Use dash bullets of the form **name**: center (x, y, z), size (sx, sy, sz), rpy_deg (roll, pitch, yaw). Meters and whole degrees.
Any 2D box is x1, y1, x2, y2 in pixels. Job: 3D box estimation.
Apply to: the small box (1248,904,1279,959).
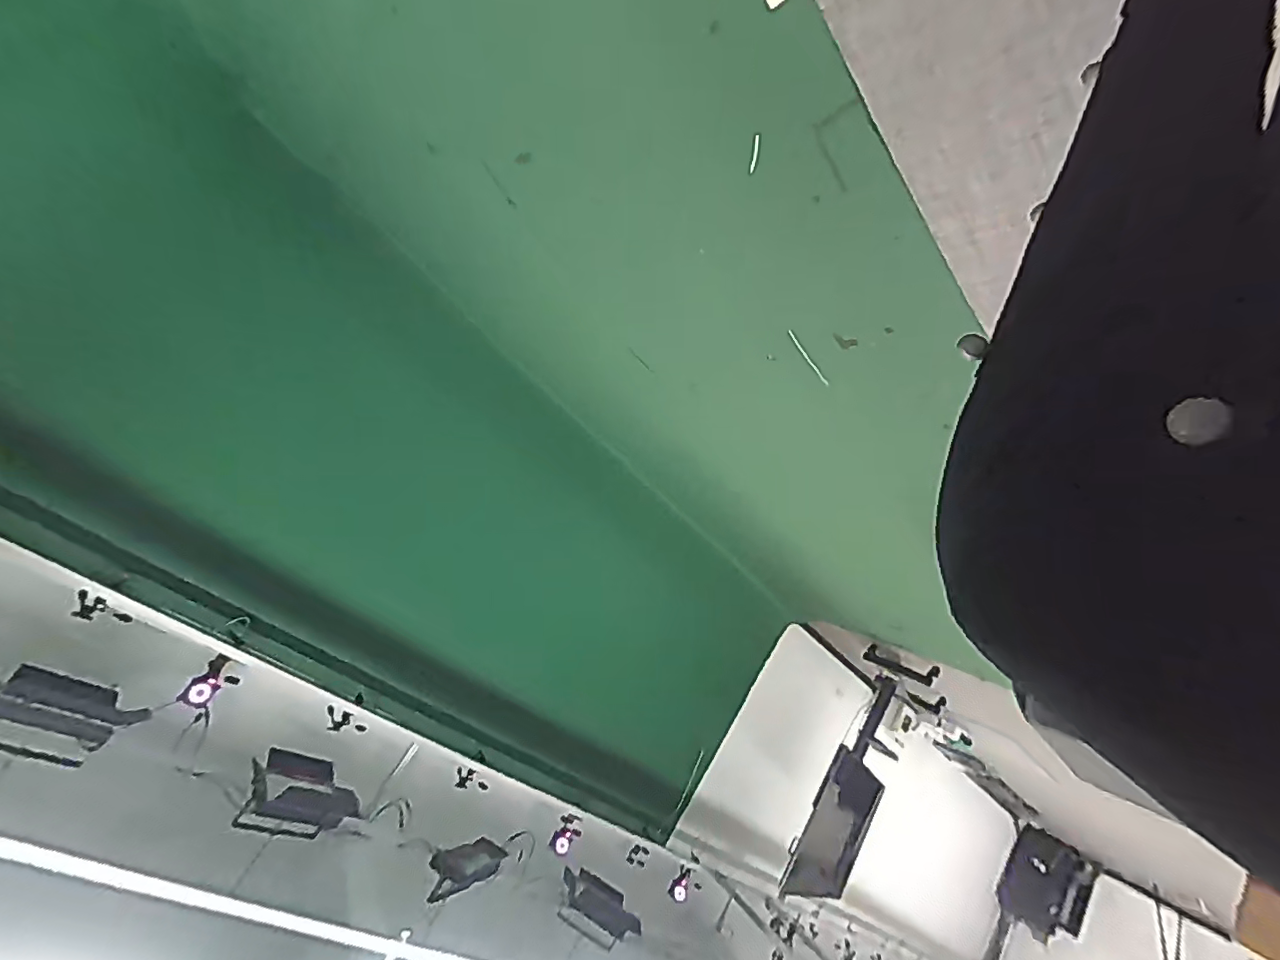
- **small box**: center (1.717, 1.232, 1.384), size (0.168, 0.176, 0.179), rpy_deg (43, 163, -28)
